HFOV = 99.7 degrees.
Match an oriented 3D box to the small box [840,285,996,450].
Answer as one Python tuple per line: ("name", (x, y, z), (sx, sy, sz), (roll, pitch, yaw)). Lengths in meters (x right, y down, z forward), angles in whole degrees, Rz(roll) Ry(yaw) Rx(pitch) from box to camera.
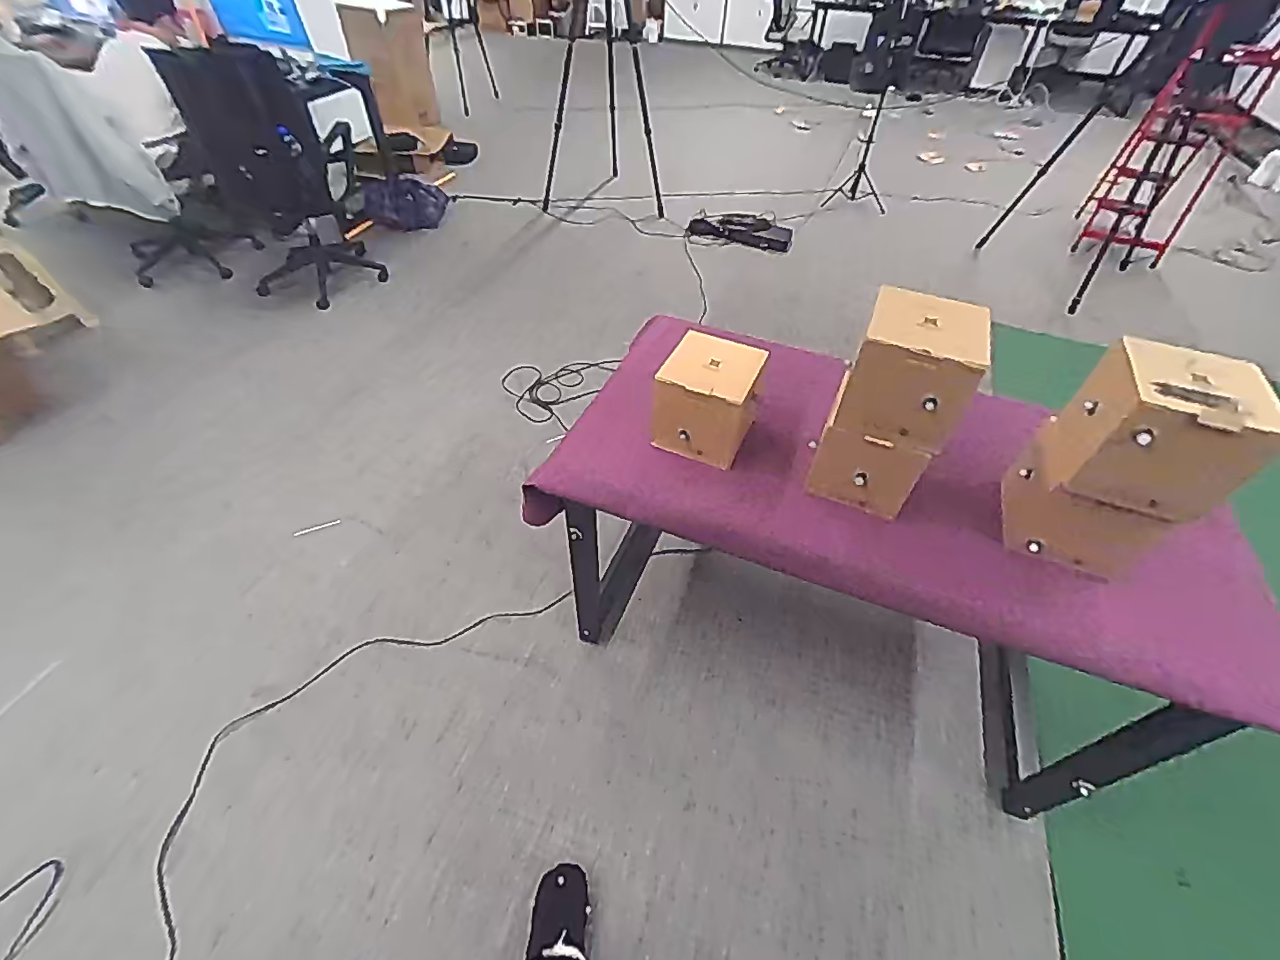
("small box", (0.427, -0.174, 0.847), (0.168, 0.176, 0.179), (20, 50, 15))

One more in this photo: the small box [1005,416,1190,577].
("small box", (0.735, 0.030, 0.892), (0.168, 0.176, 0.179), (22, 51, 15))

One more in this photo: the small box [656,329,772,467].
("small box", (0.136, -0.158, 1.043), (0.168, 0.176, 0.179), (20, 50, 15))

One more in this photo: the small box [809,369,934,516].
("small box", (0.415, -0.064, 0.968), (0.168, 0.176, 0.179), (20, 50, 15))
